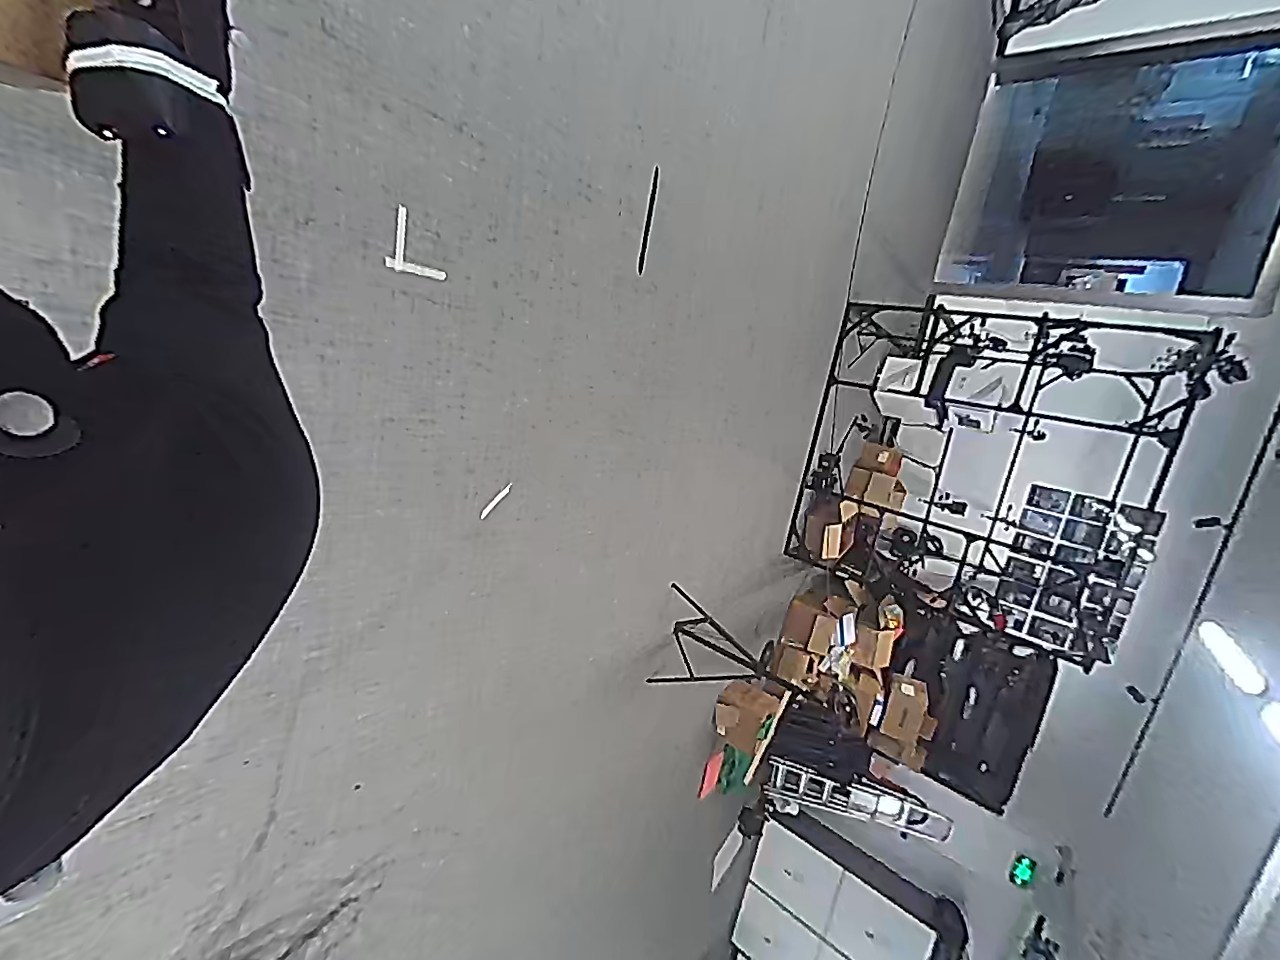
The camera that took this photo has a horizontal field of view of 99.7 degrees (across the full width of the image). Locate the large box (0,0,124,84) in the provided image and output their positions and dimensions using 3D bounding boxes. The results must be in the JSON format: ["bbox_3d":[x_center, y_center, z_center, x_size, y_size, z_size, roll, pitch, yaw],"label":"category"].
[{"bbox_3d":[-0.574,-0.459,0.257,0.408,0.320,0.320,-14,125,-57],"label":"large box"}]
